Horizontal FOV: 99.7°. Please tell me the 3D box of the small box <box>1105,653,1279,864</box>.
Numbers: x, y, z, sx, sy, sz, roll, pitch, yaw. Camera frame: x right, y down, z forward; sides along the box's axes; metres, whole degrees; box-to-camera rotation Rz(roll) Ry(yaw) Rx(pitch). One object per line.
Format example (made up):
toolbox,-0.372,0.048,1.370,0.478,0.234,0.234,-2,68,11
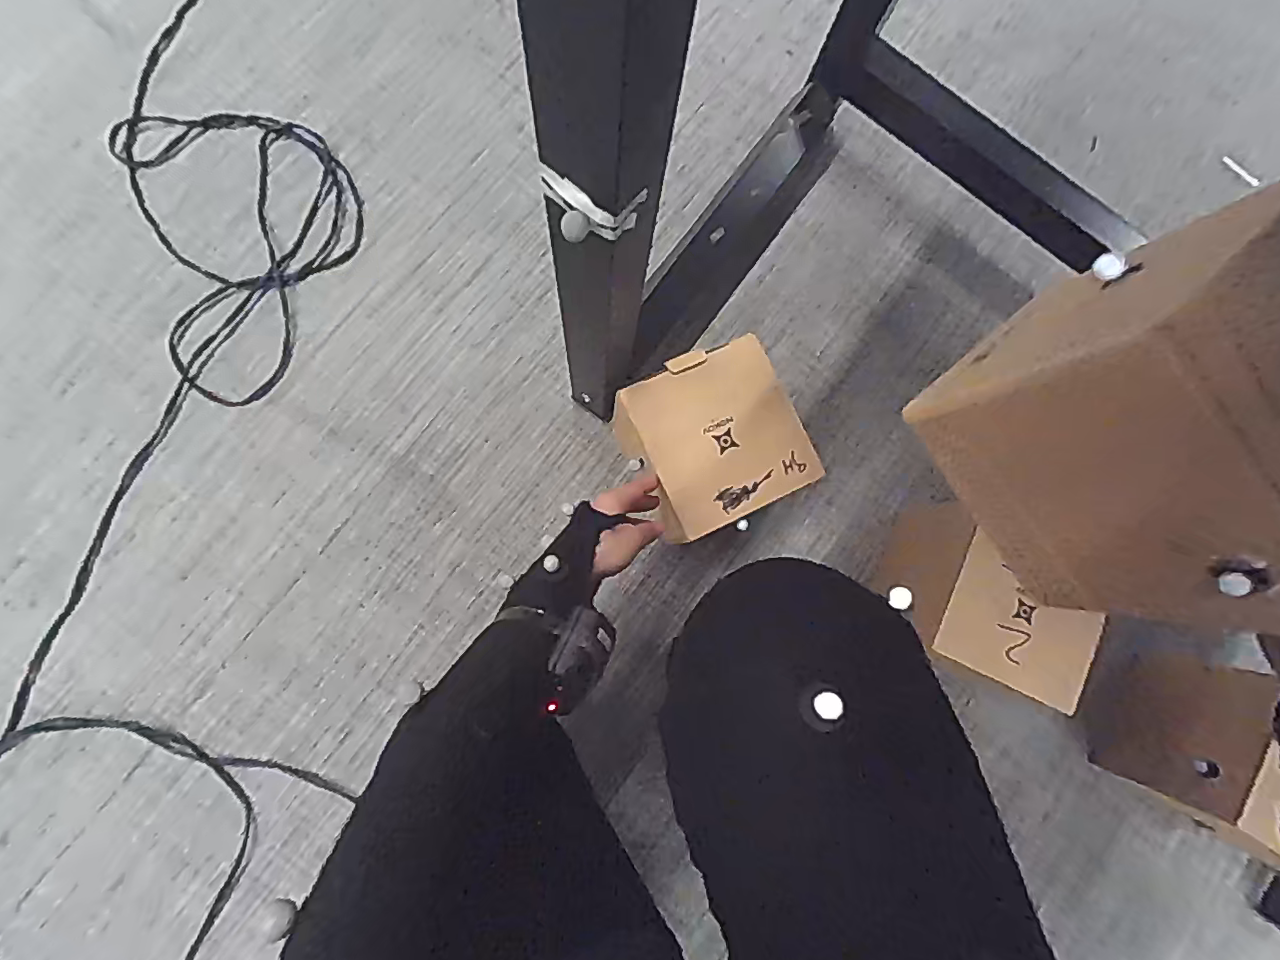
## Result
small box,0.716,0.334,0.643,0.168,0.176,0.179,32,81,0
